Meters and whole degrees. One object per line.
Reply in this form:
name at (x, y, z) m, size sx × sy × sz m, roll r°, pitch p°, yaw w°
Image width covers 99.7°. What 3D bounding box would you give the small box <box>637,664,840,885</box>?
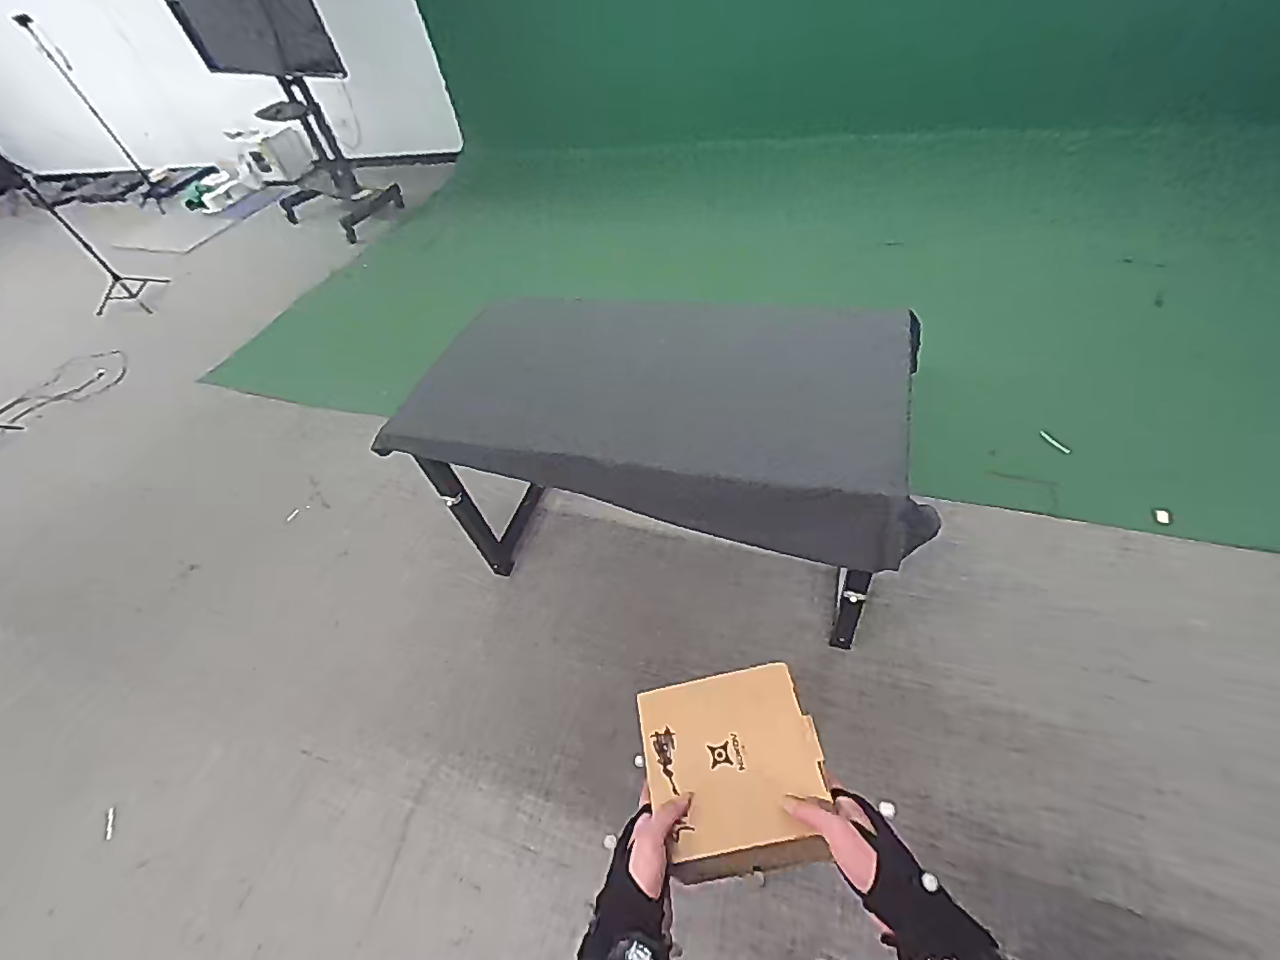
small box at (0.103, 0.333, 0.607) m, size 0.179 × 0.176 × 0.168 m, roll -13°, pitch 45°, yaw 3°
